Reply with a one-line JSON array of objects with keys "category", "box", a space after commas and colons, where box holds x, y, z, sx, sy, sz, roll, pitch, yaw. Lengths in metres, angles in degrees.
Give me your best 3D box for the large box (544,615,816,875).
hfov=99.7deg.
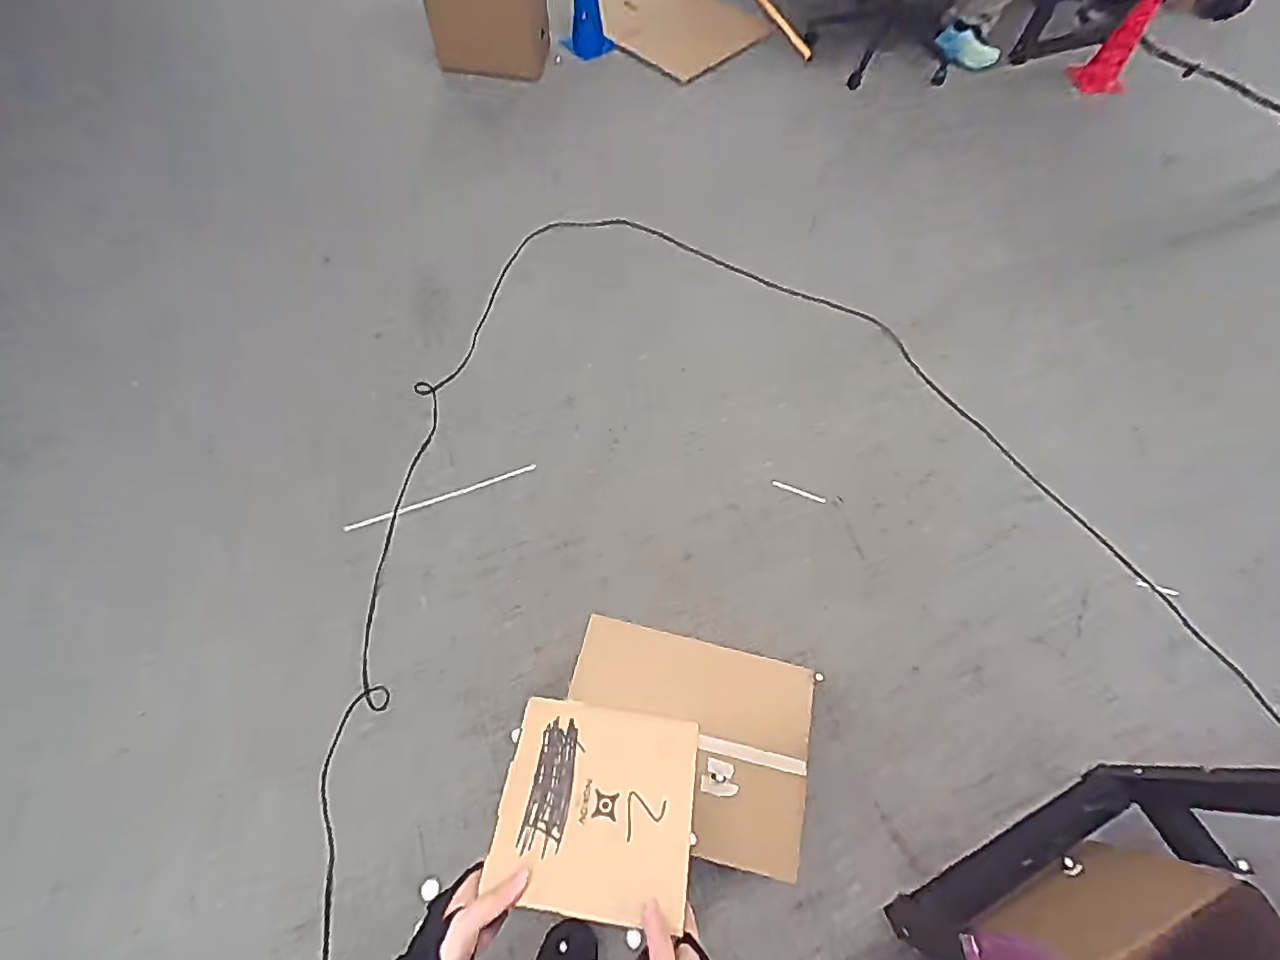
[{"category": "large box", "box": [0.069, 0.478, 1.012, 0.408, 0.320, 0.320, 14, 65, 4]}]
